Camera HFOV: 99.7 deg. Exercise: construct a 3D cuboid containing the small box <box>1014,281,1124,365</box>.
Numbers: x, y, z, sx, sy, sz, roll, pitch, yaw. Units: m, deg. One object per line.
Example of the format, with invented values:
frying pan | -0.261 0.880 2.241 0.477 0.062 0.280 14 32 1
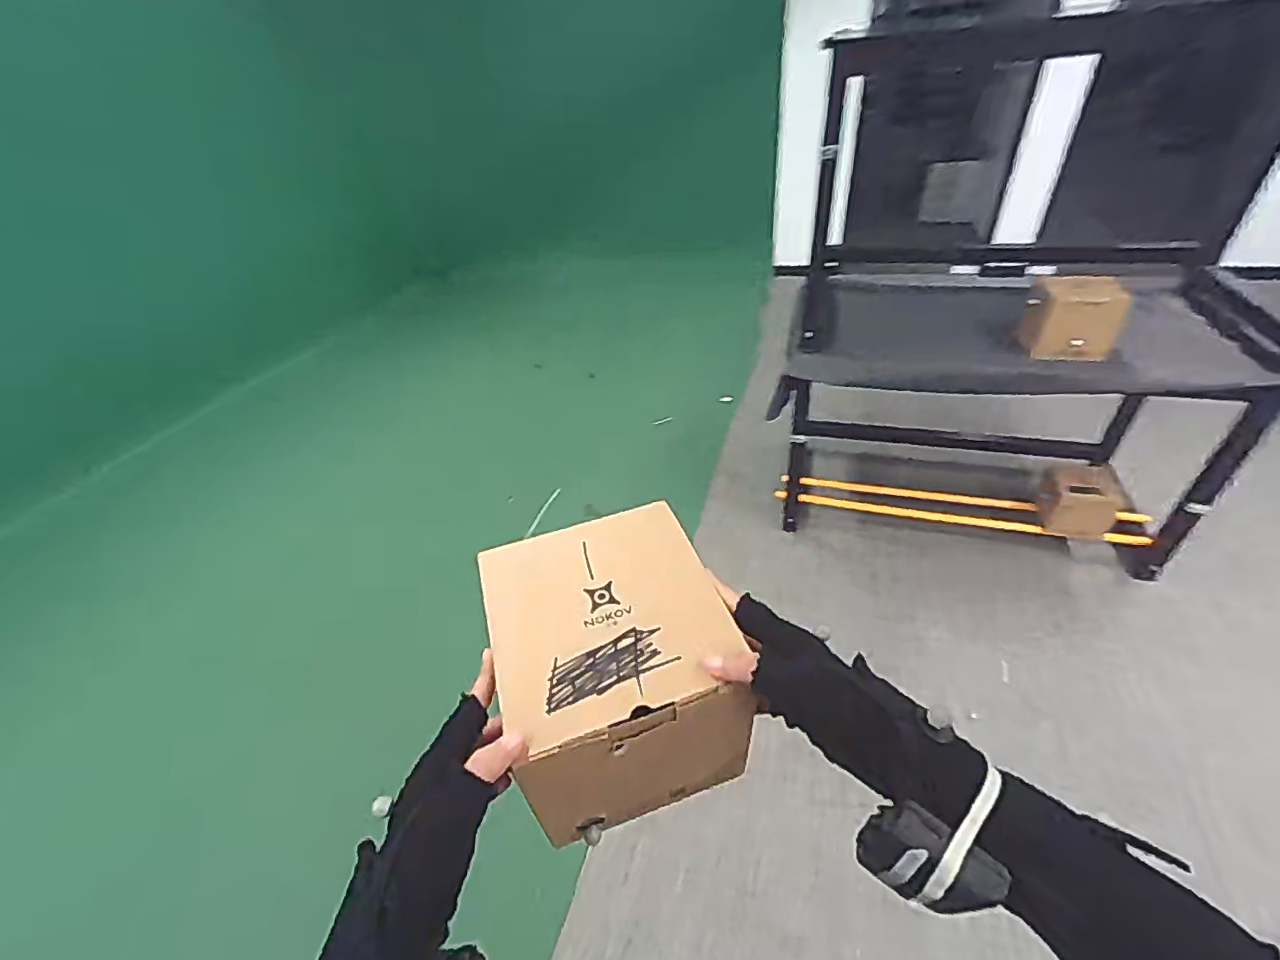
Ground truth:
small box | 1.158 -0.432 1.479 0.168 0.176 0.179 5 39 15
